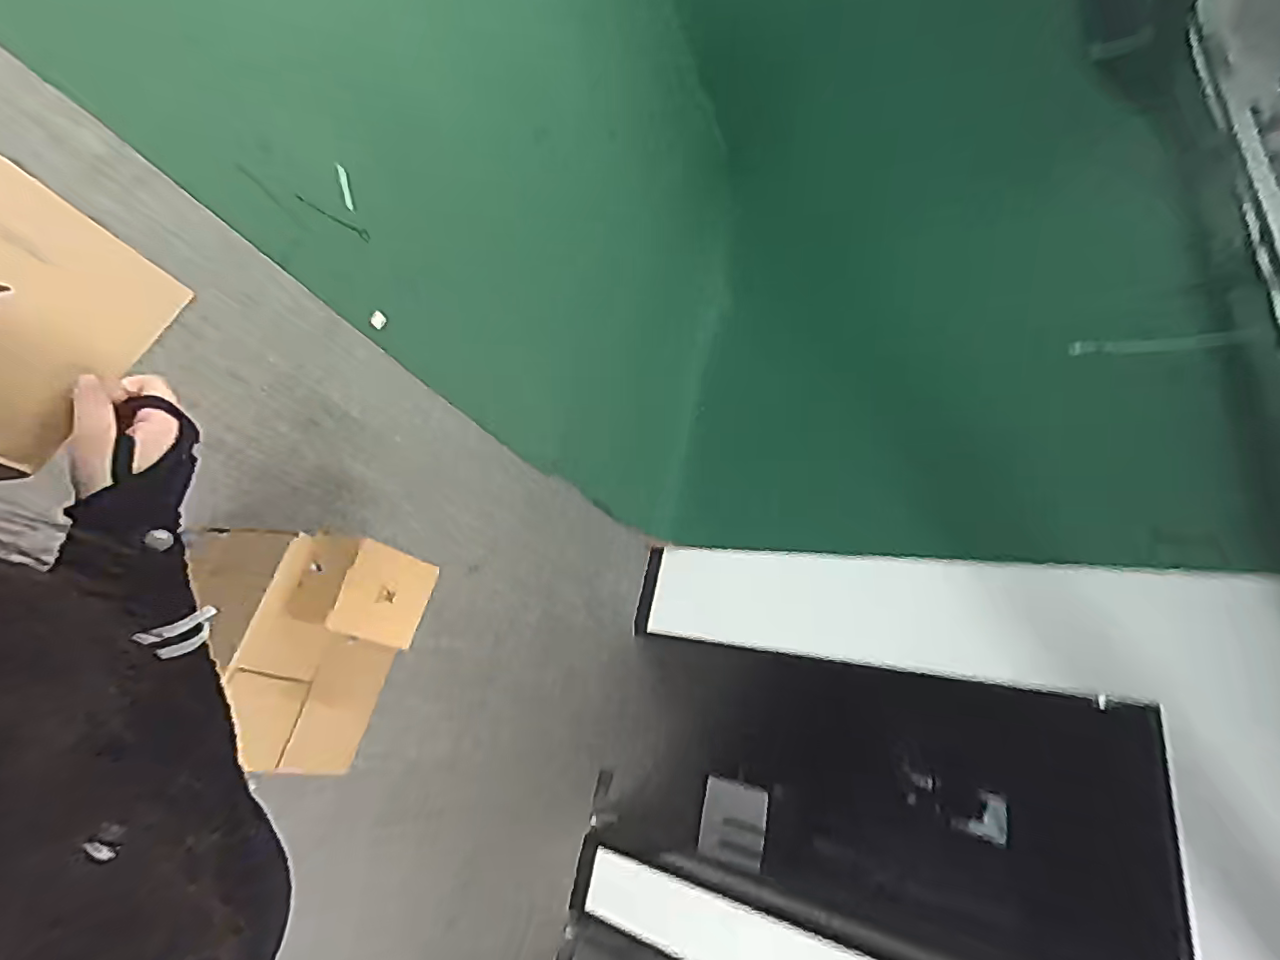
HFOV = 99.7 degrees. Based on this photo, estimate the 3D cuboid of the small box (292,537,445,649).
[{"bbox_3d":[-0.527,0.216,1.056,0.179,0.176,0.168,41,57,-47],"label":"small box"}]
